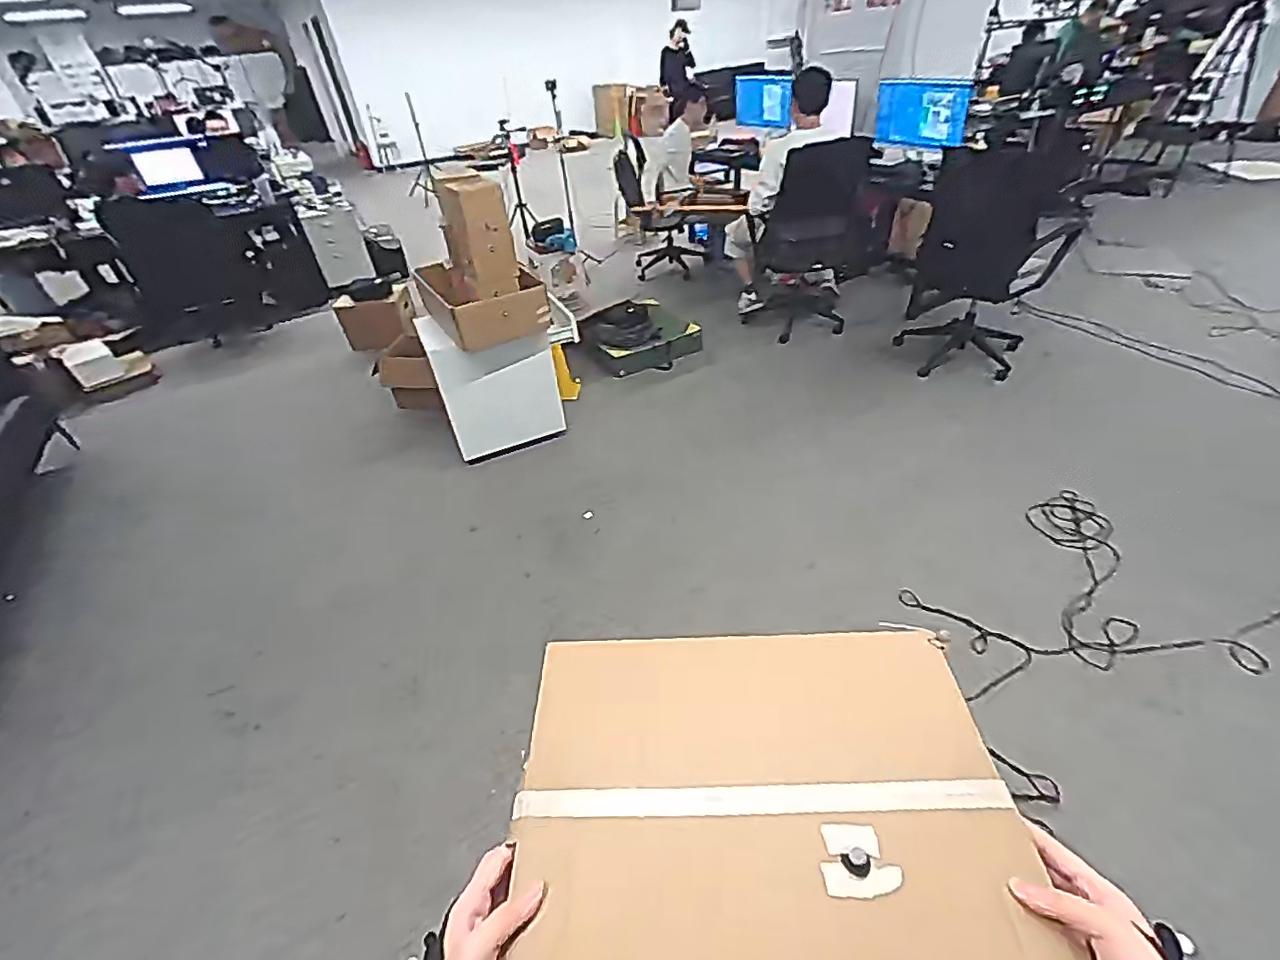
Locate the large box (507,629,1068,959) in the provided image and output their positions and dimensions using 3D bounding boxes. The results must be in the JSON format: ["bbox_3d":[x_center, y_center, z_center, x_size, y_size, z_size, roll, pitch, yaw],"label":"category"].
[{"bbox_3d":[0.106,0.381,0.565,0.408,0.320,0.320,-2,42,2],"label":"large box"}]
